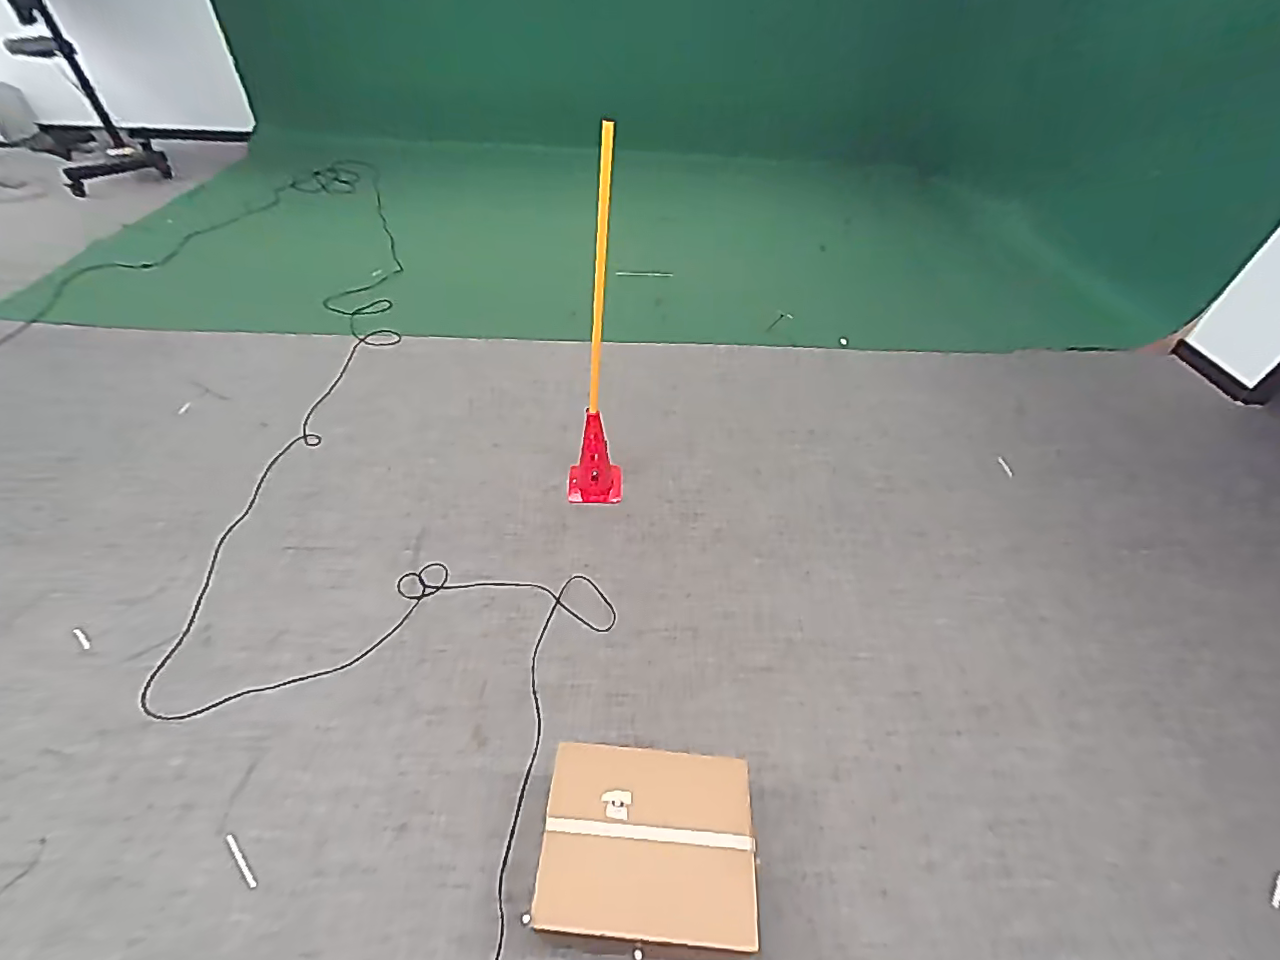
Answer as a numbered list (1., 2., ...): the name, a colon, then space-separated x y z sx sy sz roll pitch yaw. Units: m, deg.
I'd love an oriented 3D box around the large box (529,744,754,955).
1. large box: 0.010 0.793 1.155 0.408 0.320 0.320 5 45 2
